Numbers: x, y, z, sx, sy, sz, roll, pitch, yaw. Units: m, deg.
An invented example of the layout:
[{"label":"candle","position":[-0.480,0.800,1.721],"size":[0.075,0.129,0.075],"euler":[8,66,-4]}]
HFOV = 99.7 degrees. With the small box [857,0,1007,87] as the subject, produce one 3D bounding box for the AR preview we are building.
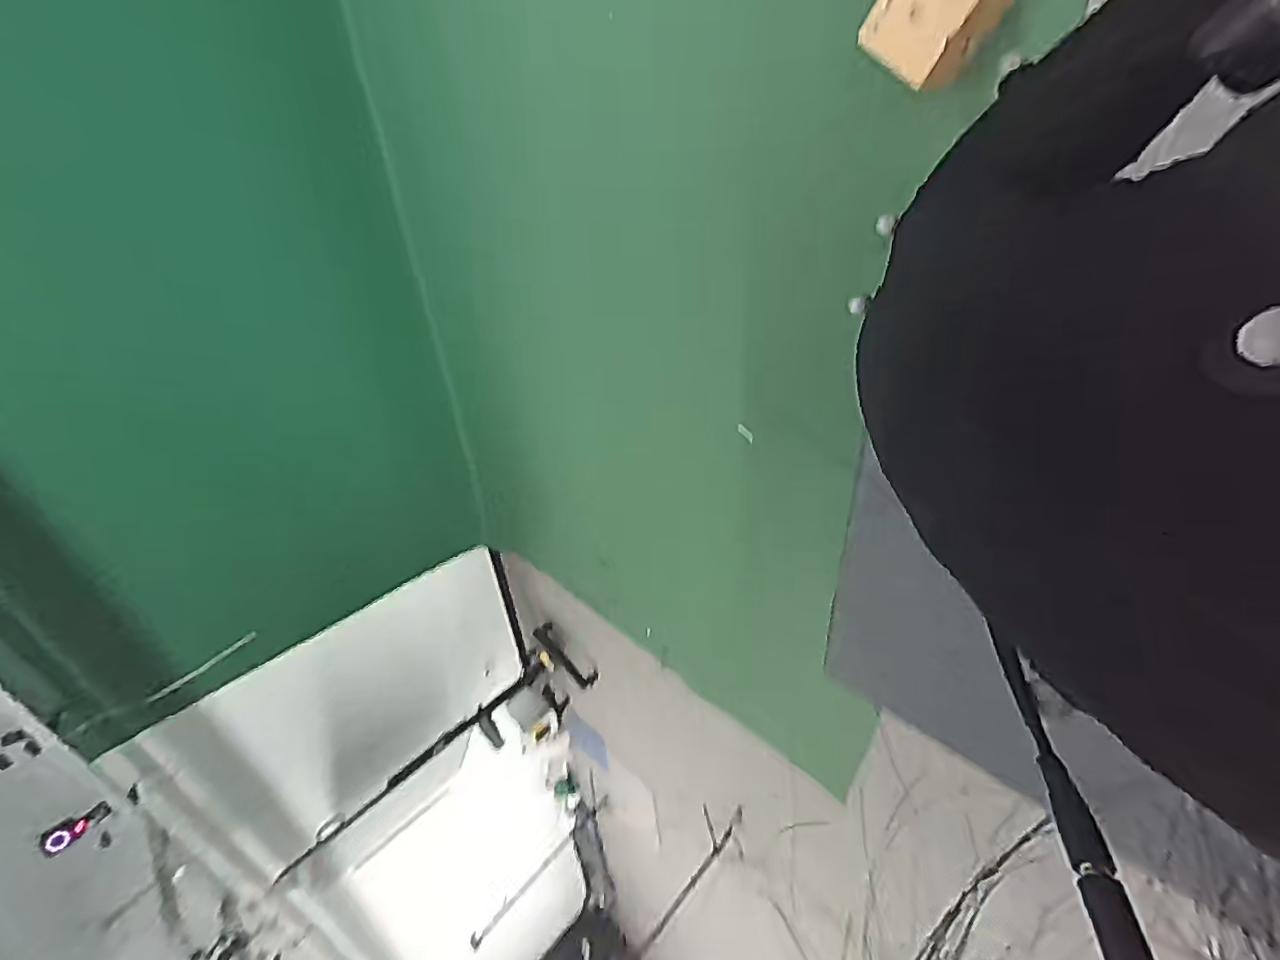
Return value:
[{"label":"small box","position":[0.577,-0.916,1.064],"size":[0.179,0.176,0.168],"euler":[50,144,11]}]
